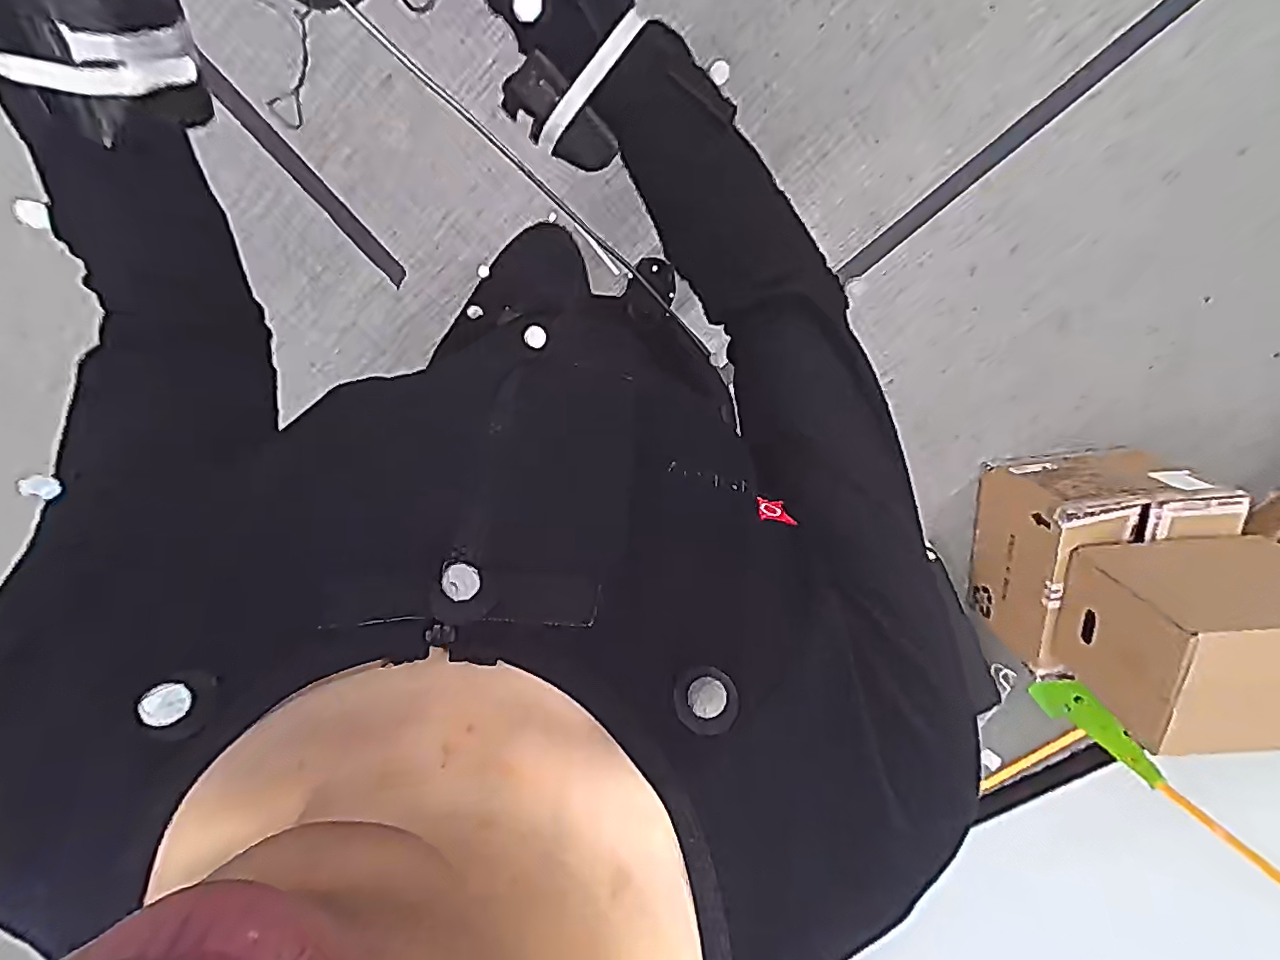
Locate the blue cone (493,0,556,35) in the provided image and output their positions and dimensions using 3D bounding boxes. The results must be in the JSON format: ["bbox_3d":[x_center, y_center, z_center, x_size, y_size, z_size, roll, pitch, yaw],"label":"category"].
[{"bbox_3d":[-0.237,-0.966,0.924,0.193,0.380,0.192,42,108,-16],"label":"blue cone"}]
